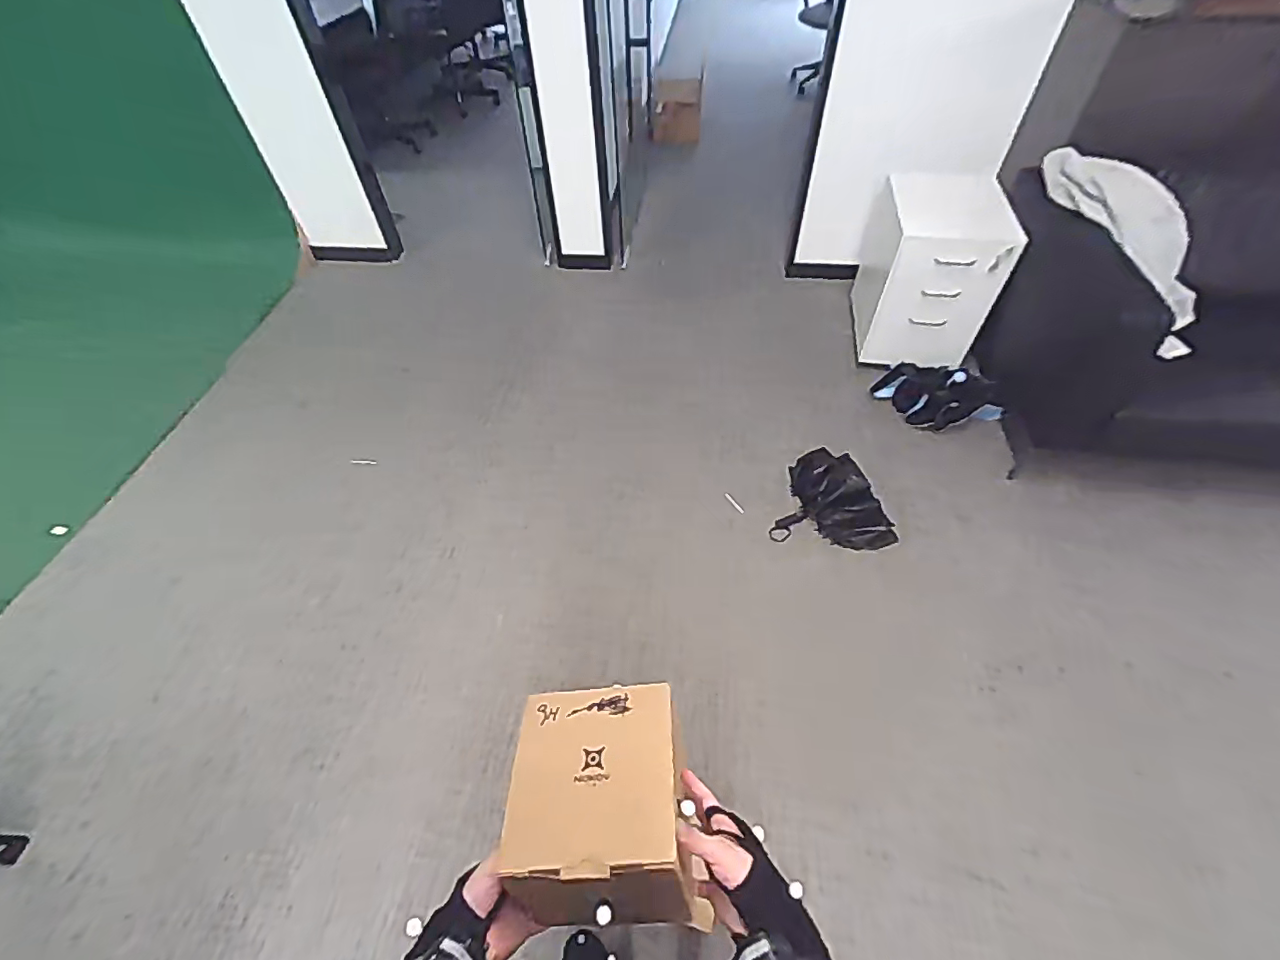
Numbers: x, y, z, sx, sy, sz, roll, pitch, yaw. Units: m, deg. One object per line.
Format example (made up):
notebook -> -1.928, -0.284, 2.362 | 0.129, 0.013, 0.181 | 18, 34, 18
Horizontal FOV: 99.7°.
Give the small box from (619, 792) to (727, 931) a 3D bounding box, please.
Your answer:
small box -> 0.066, 0.762, 1.082 | 0.168, 0.176, 0.179 | 14, 53, 14
